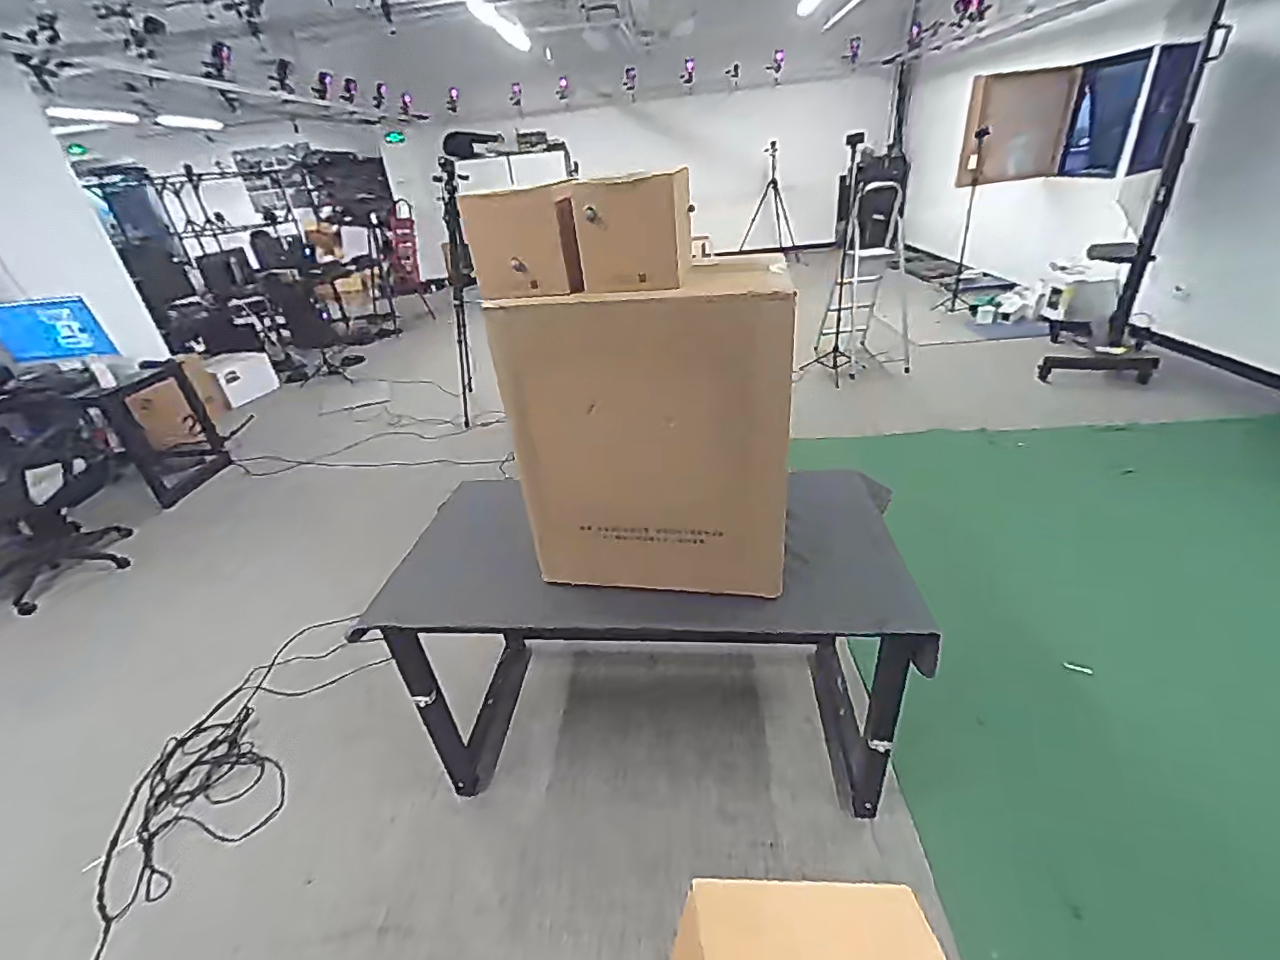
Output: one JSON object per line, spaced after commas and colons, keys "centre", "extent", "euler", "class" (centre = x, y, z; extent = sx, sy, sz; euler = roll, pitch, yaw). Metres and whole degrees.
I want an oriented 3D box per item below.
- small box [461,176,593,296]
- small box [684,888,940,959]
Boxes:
{"centre": [-0.187, -0.432, 0.957], "extent": [0.168, 0.176, 0.179], "euler": [0, 32, 12], "class": "small box"}
{"centre": [0.109, 0.401, 0.335], "extent": [0.168, 0.176, 0.179], "euler": [7, 21, -7], "class": "small box"}
